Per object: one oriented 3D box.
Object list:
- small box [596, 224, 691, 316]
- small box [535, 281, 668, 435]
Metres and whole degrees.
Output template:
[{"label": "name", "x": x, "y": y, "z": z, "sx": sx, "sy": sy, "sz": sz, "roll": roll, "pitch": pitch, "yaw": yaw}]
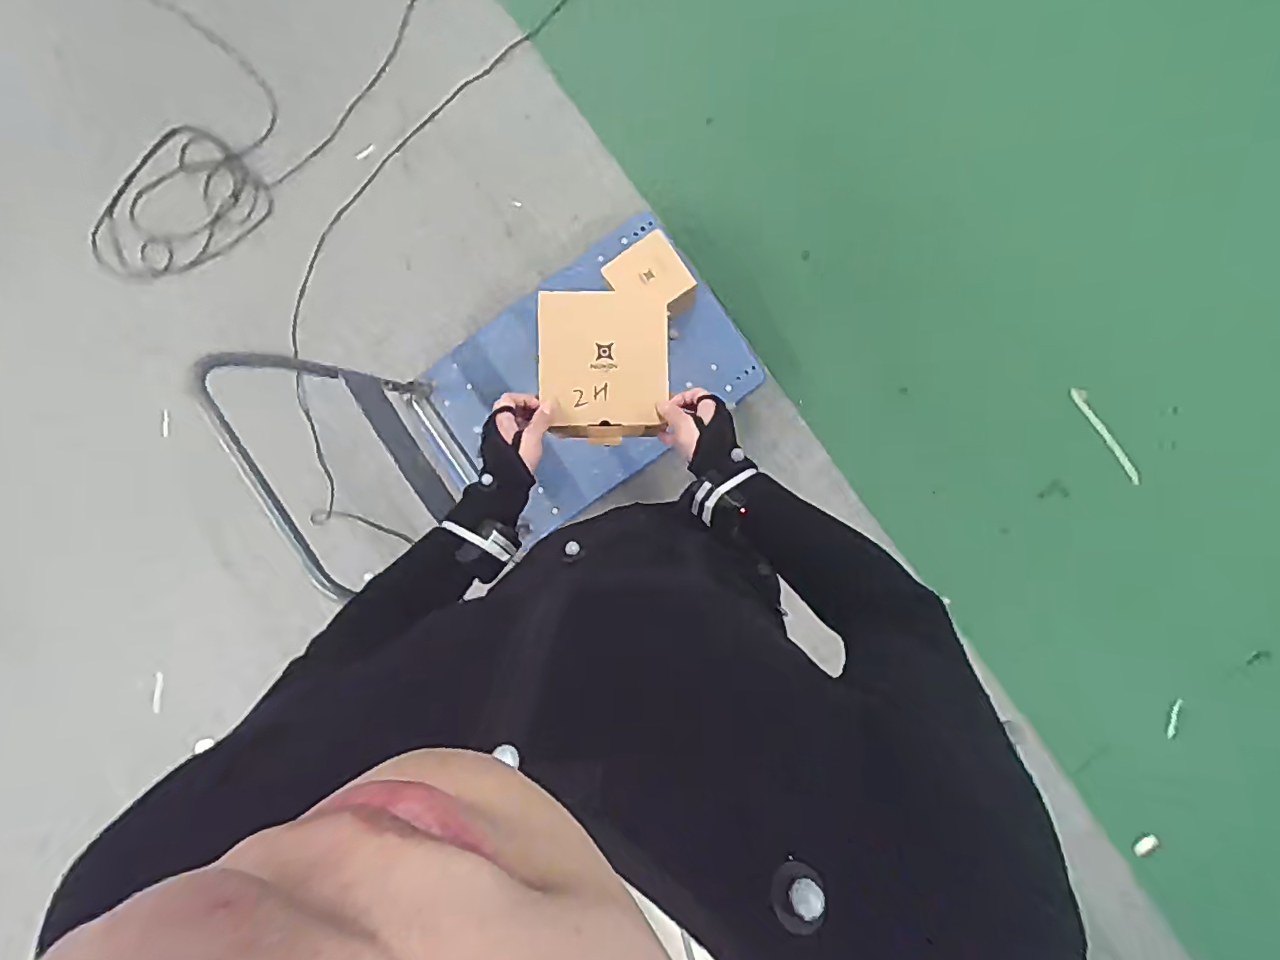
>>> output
[{"label": "small box", "x": 0.014, "y": -0.496, "z": 1.363, "sx": 0.179, "sy": 0.176, "sz": 0.168, "roll": -34, "pitch": 89, "yaw": 5}, {"label": "small box", "x": -0.052, "y": -0.160, "z": 0.758, "sx": 0.168, "sy": 0.176, "sz": 0.179, "roll": 1, "pitch": 90, "yaw": -2}]
